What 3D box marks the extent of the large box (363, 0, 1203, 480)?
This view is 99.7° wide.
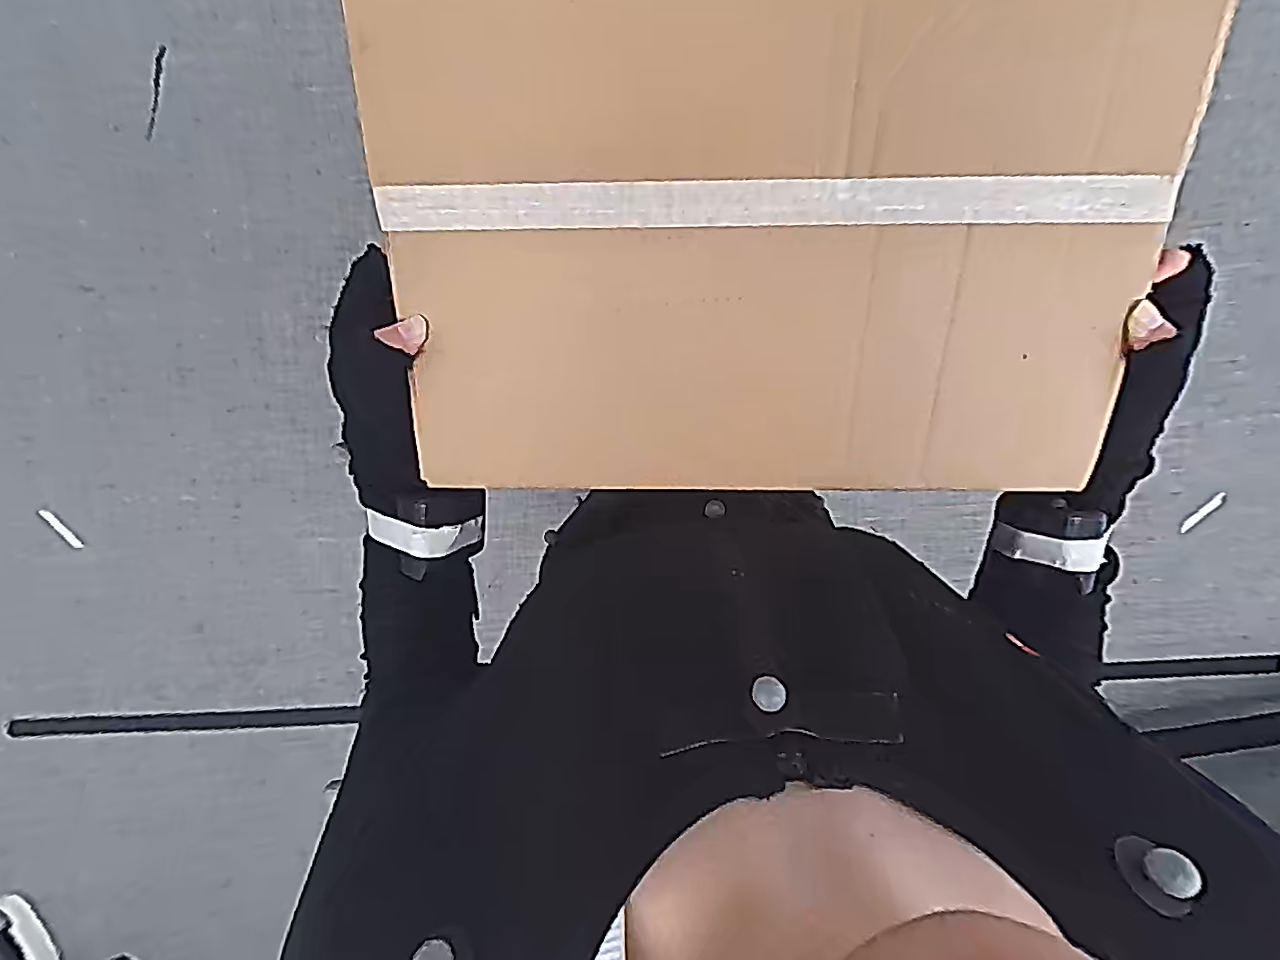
[{"bbox_3d":[0.066,-0.197,0.427,0.408,0.320,0.320,0,112,1],"label":"large box"}]
